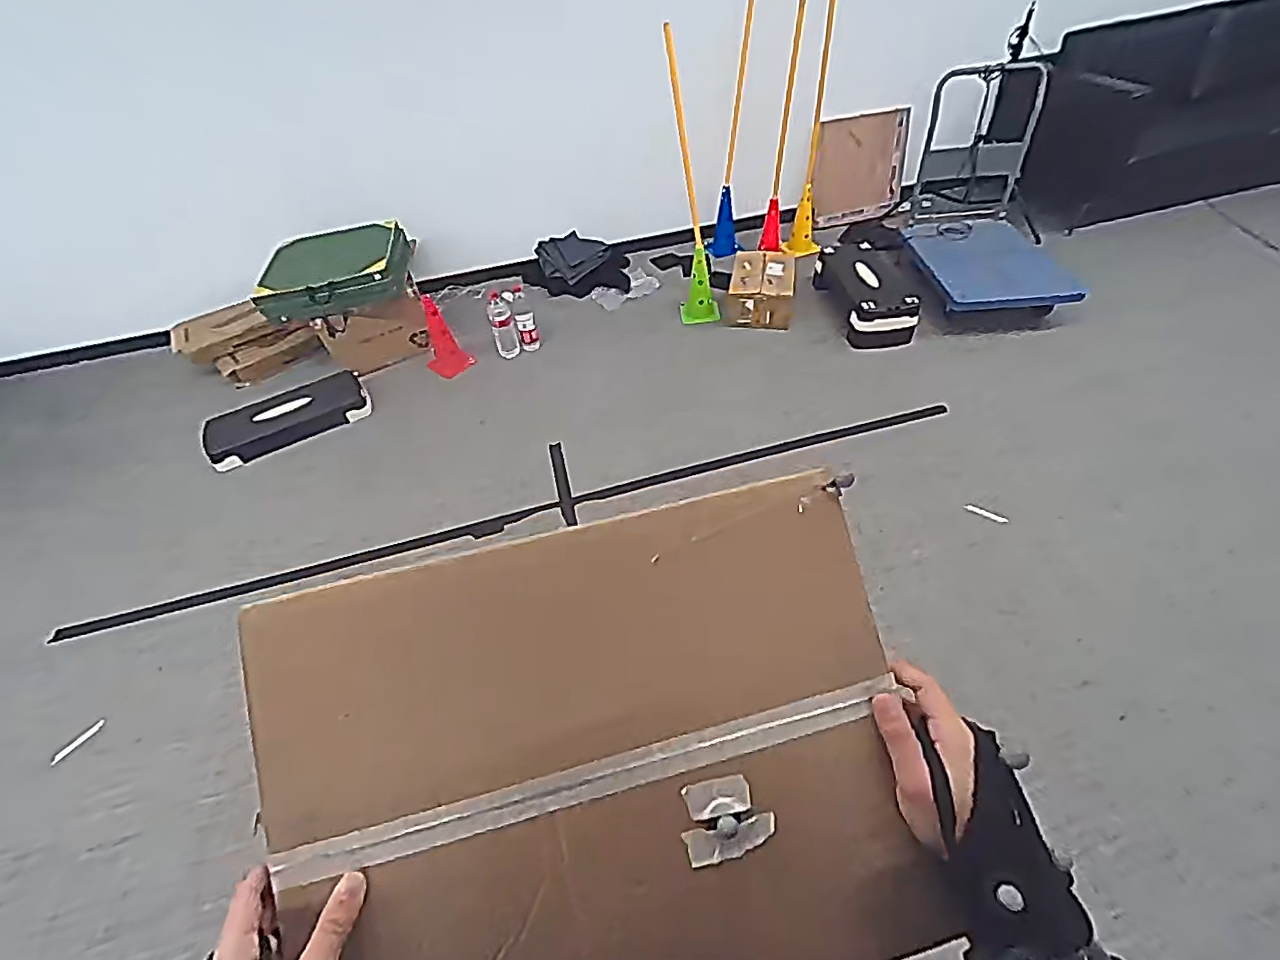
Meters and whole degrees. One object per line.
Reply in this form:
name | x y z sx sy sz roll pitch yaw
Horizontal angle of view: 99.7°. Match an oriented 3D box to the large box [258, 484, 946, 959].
large box | -0.036 0.221 0.501 0.408 0.320 0.320 -13 83 -8
